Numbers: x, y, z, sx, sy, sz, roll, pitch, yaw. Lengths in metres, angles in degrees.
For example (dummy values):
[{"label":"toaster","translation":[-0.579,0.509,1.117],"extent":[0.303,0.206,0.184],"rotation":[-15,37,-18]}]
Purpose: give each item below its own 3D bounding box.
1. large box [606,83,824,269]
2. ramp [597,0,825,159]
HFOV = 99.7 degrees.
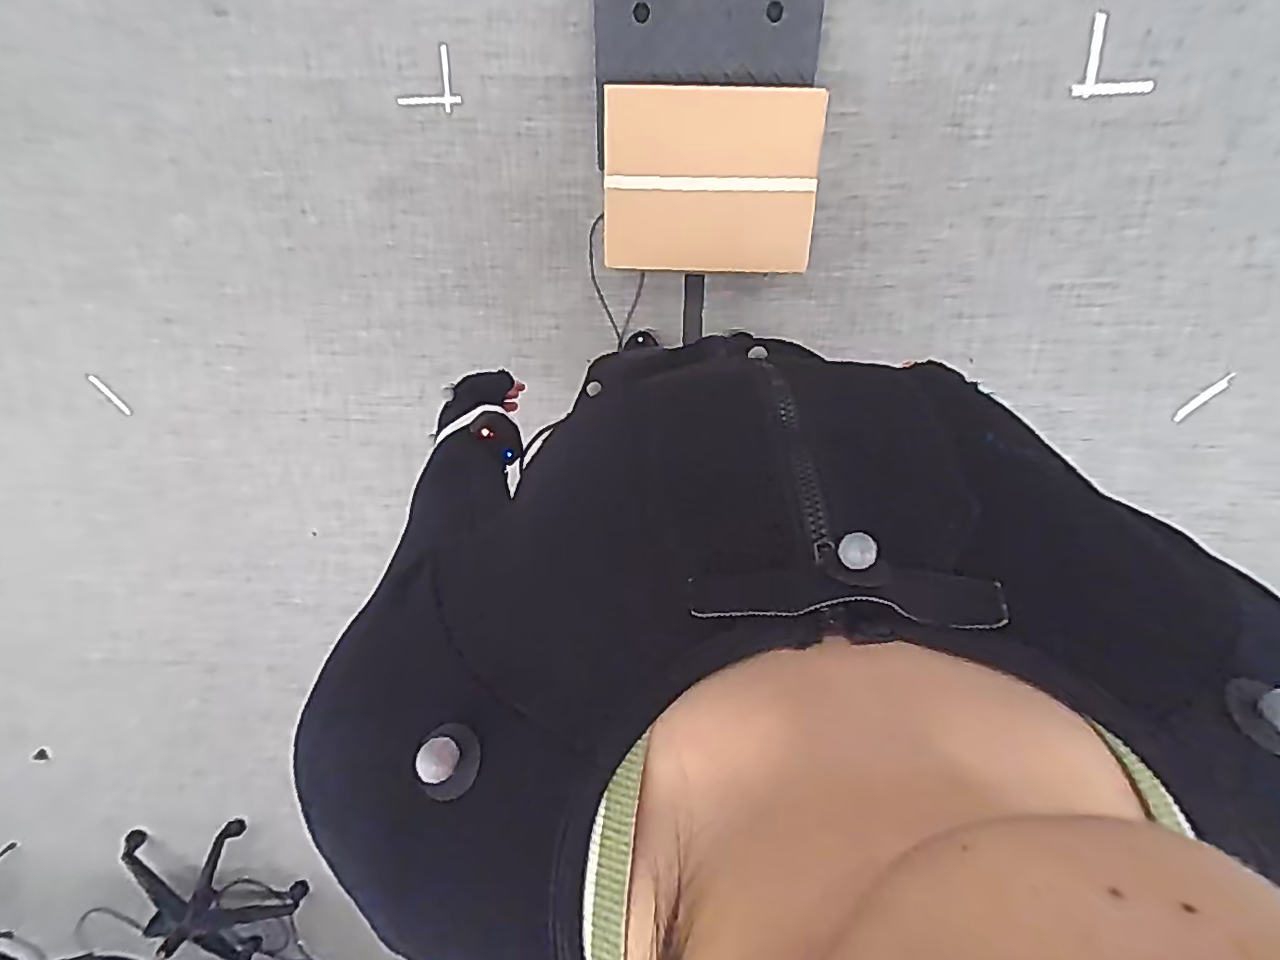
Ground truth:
[{"label":"large box","translation":[0.143,-0.627,1.172],"extent":[0.408,0.320,0.320],"rotation":[2,110,2]},{"label":"ramp","translation":[0.153,-1.208,1.067],"extent":[0.509,0.206,0.991],"rotation":[0,107,2]}]
